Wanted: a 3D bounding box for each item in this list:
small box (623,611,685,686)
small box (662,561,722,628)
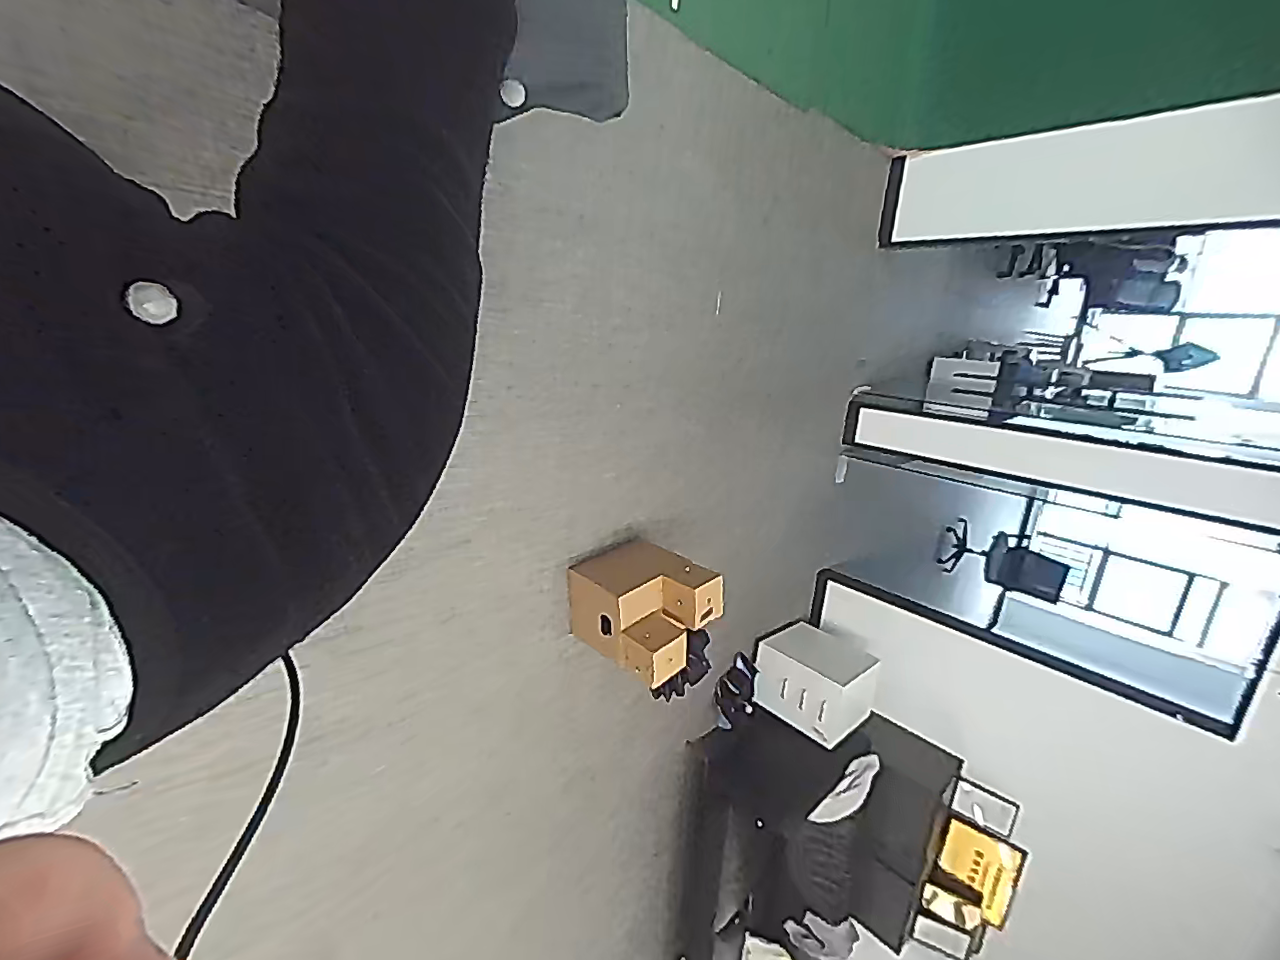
[{"bbox_3d":[0.050,0.621,2.012,0.179,0.176,0.168,-23,123,-40],"label":"small box"},{"bbox_3d":[0.200,0.439,2.100,0.168,0.176,0.179,-18,113,-41],"label":"small box"}]
